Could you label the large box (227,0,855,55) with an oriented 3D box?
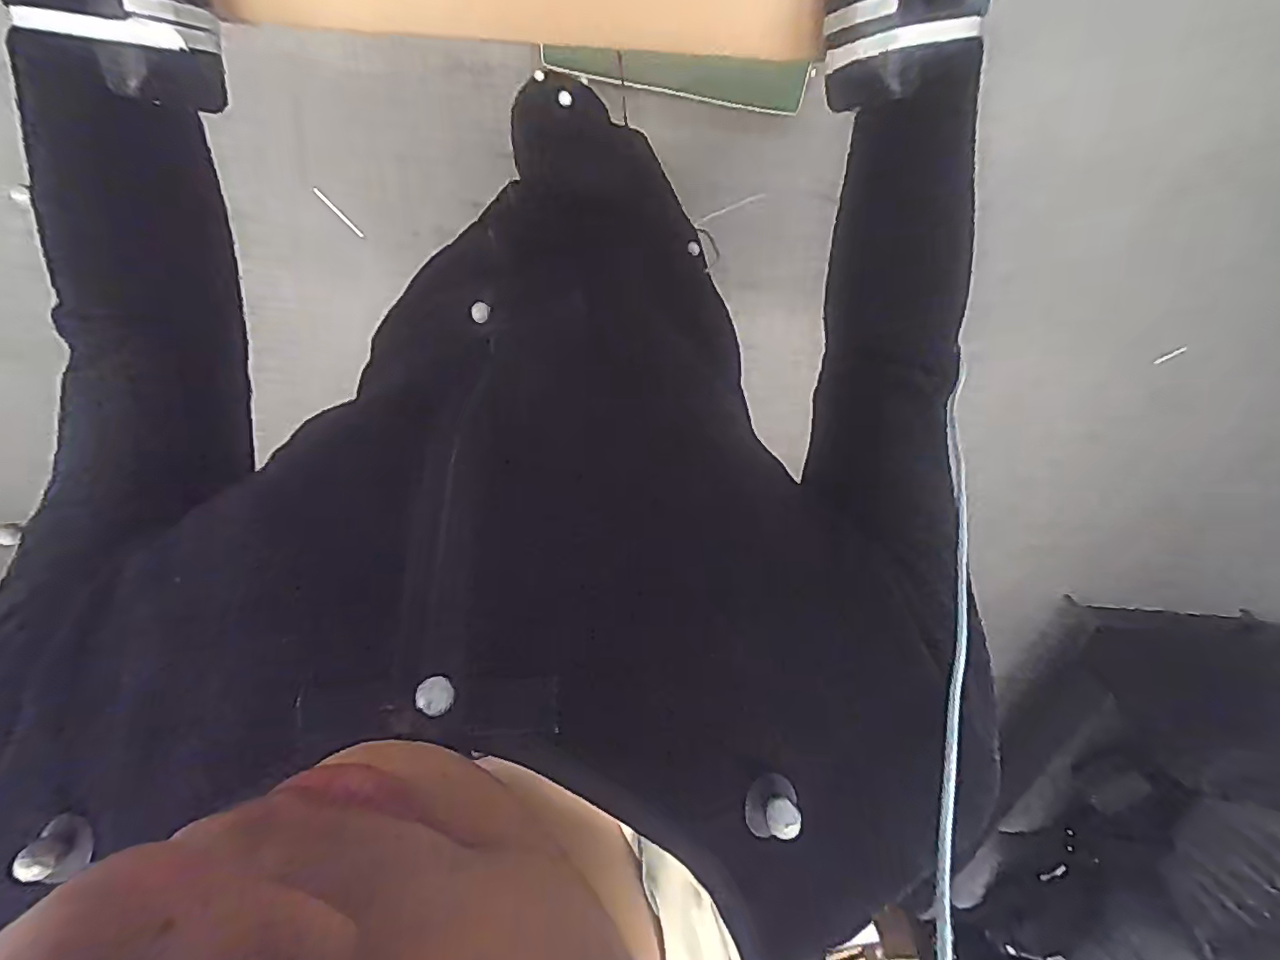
[{"bbox_3d":[-0.061,-0.502,0.343,0.408,0.320,0.320,0,139,-4],"label":"large box"}]
